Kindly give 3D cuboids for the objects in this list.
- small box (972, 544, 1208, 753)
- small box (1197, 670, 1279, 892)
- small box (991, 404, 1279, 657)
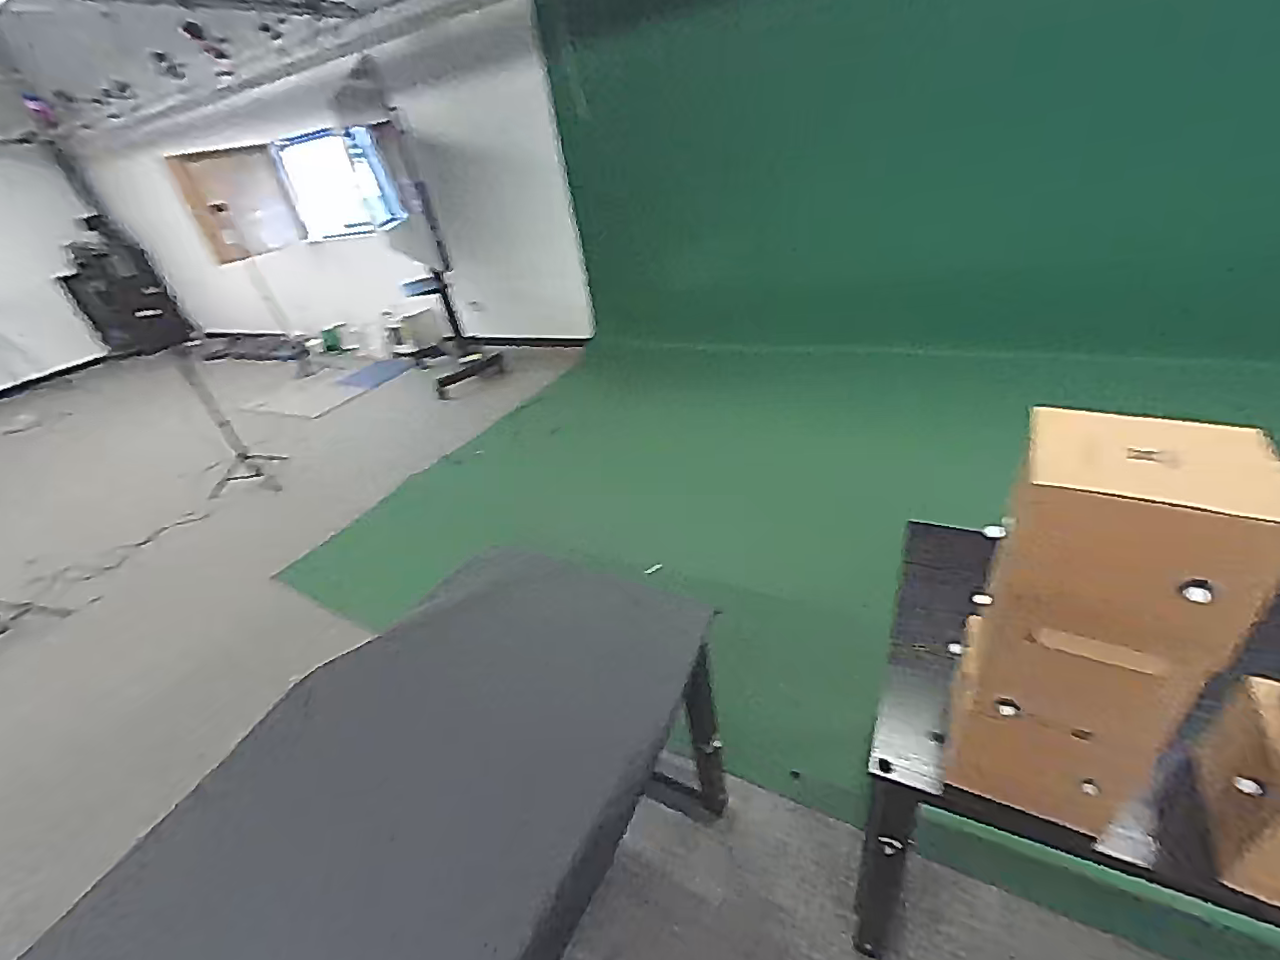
[{"bbox_3d":[0.497,0.173,0.625,0.168,0.176,0.179,11,38,29],"label":"small box"},{"bbox_3d":[0.755,0.350,0.582,0.168,0.176,0.179,12,39,30],"label":"small box"},{"bbox_3d":[0.468,0.043,0.530,0.179,0.176,0.168,11,37,30],"label":"small box"}]
